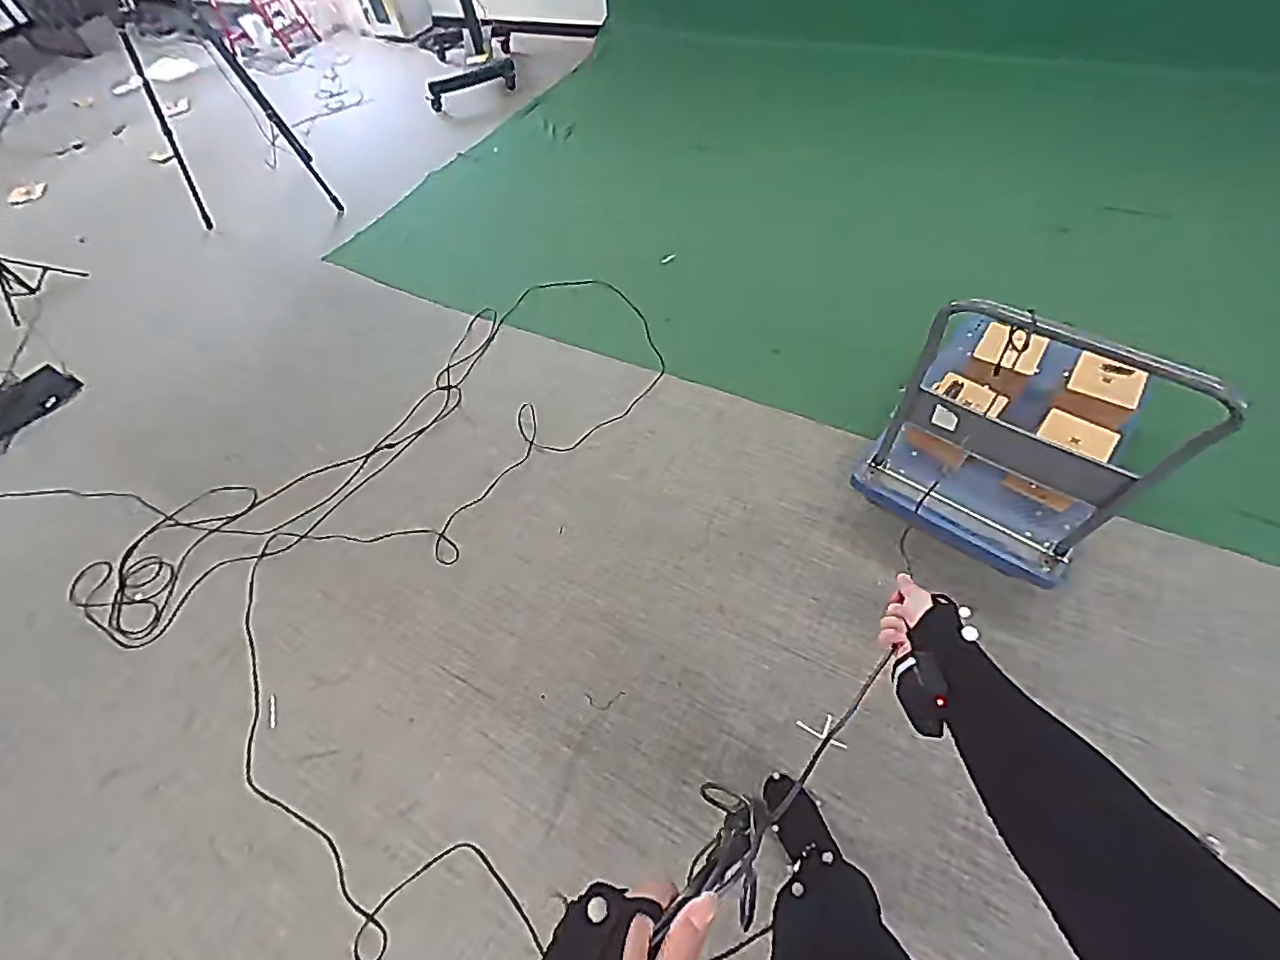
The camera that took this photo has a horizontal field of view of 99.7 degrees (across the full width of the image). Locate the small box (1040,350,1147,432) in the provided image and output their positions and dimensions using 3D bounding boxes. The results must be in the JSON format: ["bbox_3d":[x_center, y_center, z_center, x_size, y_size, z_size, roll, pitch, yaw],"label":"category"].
[{"bbox_3d":[1.310,-0.238,1.574,0.168,0.176,0.179,29,65,24],"label":"small box"}]

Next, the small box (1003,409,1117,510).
[{"bbox_3d":[1.137,-0.054,1.476,0.168,0.176,0.179,34,67,26],"label":"small box"}]
